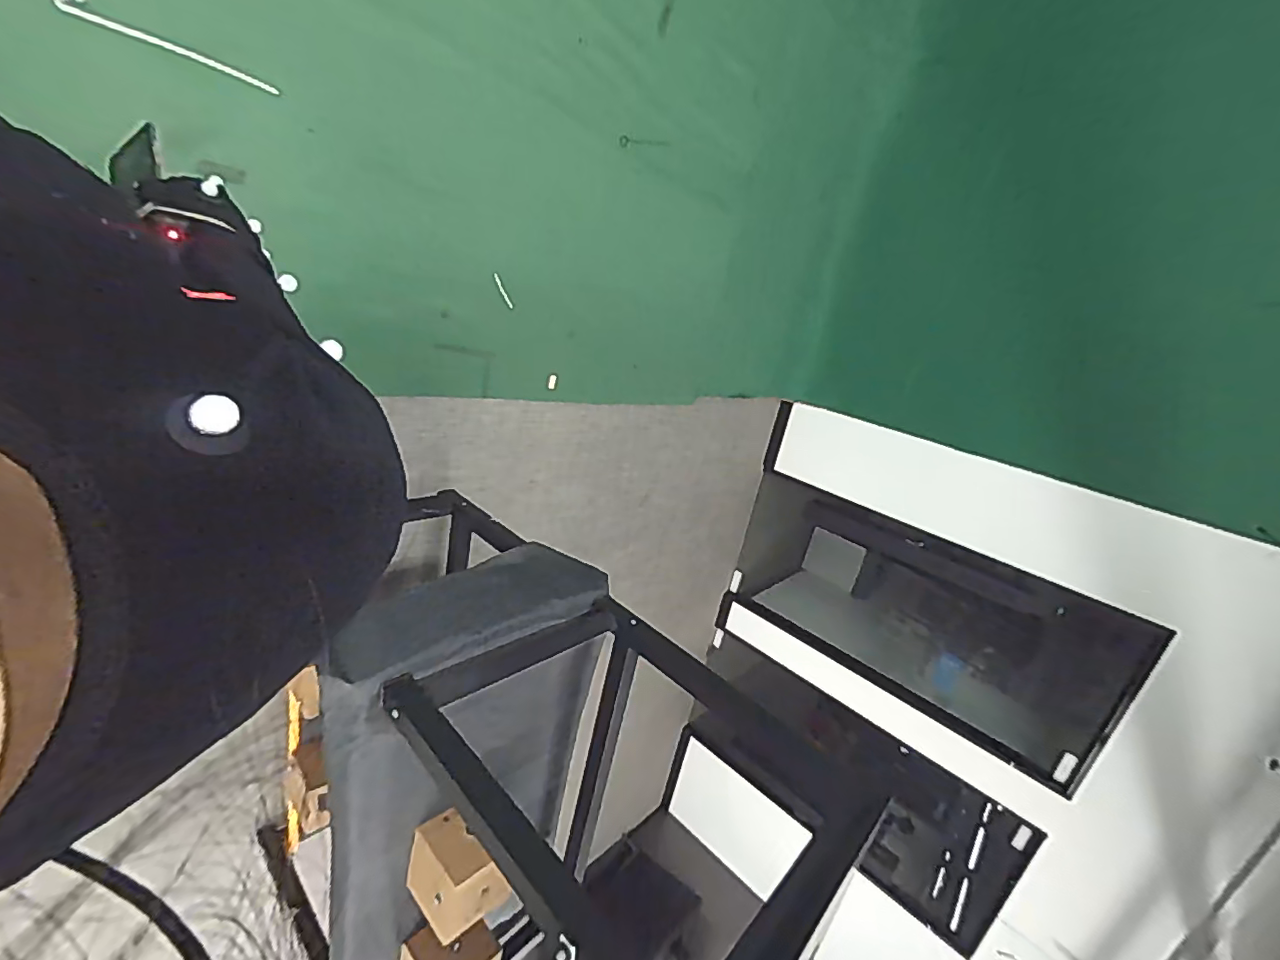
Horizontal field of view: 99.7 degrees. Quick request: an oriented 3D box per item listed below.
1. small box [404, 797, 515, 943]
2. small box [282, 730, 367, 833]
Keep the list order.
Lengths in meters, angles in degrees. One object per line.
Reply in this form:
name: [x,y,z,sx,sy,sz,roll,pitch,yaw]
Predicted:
small box: [-0.408,0.853,1.210,0.168,0.176,0.179,-5,115,-50]
small box: [-0.953,0.898,1.626,0.179,0.176,0.168,-5,115,-50]
